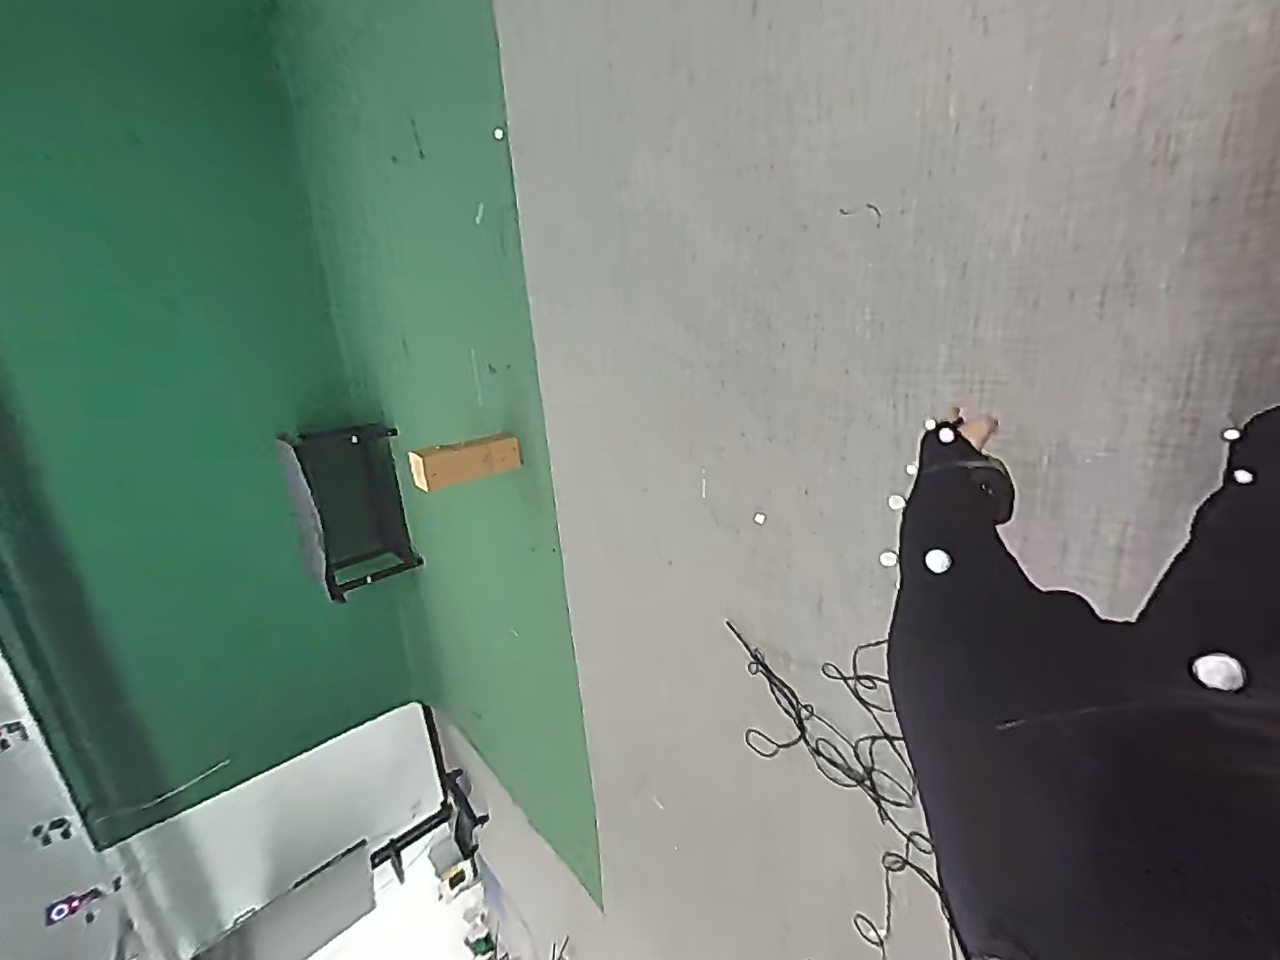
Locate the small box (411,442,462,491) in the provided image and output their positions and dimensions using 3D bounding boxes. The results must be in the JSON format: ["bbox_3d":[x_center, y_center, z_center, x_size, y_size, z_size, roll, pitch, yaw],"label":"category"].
[{"bbox_3d":[-0.976,-0.068,2.605,0.168,0.176,0.179,18,119,45],"label":"small box"}]

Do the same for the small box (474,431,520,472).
[{"bbox_3d":[-0.734,-0.152,2.811,0.179,0.176,0.168,16,117,47],"label":"small box"}]
